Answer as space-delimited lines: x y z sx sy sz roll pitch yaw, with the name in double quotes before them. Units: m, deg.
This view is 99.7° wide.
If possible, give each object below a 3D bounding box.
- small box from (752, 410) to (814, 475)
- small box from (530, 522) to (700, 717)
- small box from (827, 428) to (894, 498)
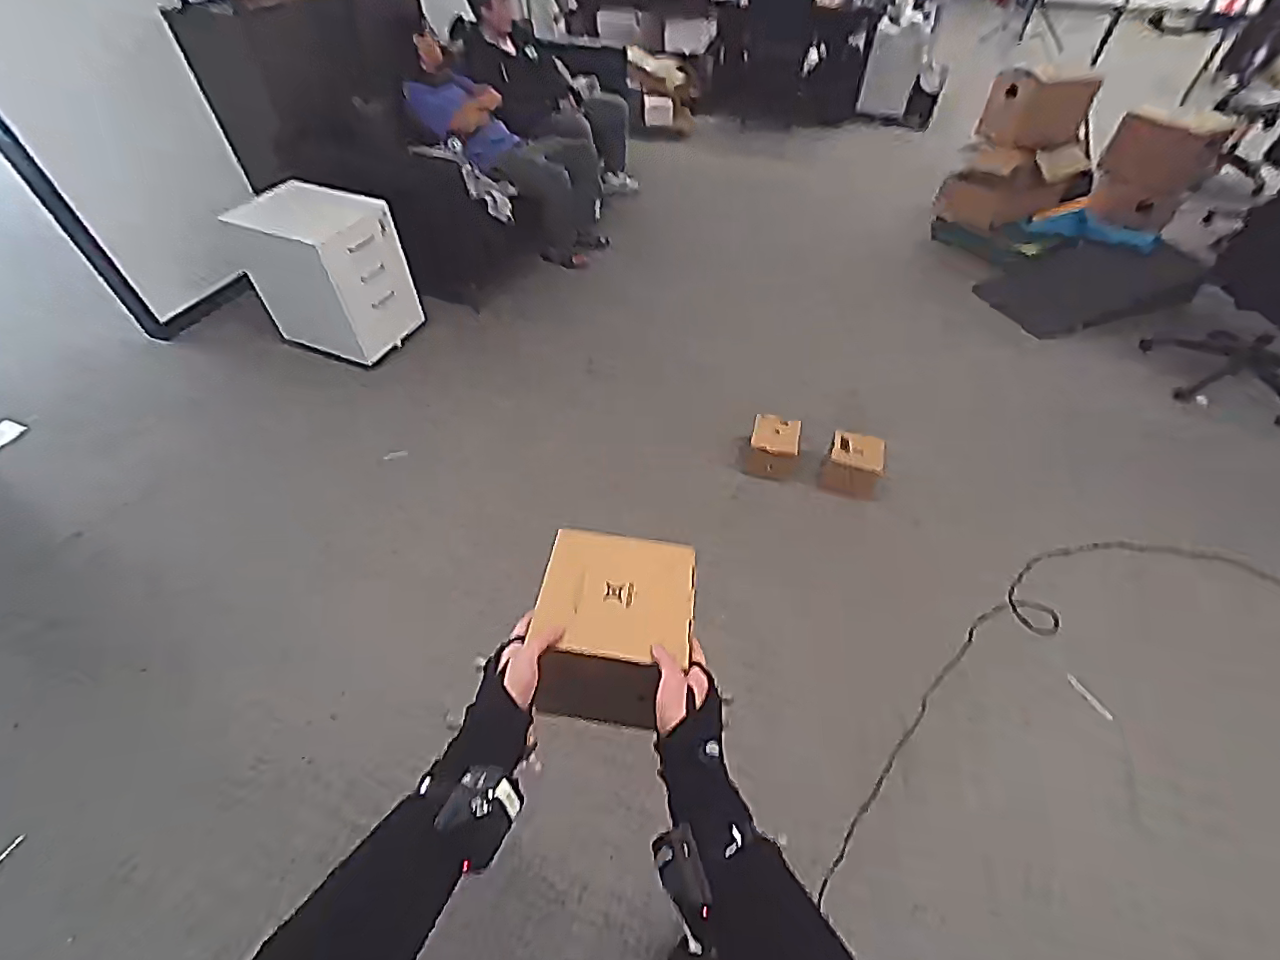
"small box" 0.529 -0.137 2.035 0.179 0.176 0.168 -12 48 -7
"small box" -0.026 0.178 0.683 0.179 0.176 0.168 7 42 4
"small box" 0.797 -0.058 1.968 0.179 0.176 0.168 18 54 17
